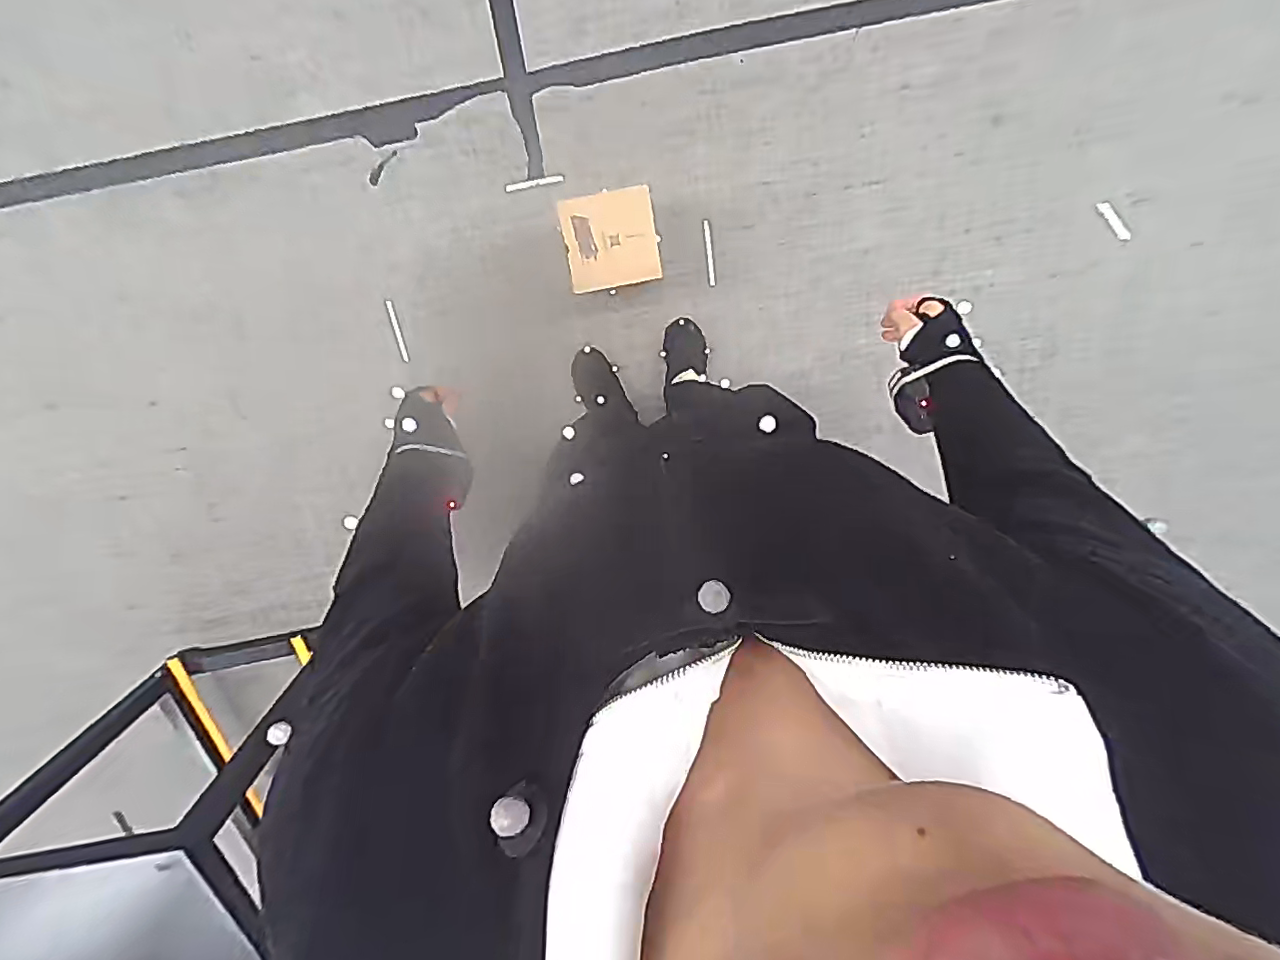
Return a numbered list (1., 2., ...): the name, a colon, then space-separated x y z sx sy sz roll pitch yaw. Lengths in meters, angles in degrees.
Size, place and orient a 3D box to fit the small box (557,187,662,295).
1. small box: -0.057 -0.471 1.087 0.179 0.176 0.168 -11 110 0
